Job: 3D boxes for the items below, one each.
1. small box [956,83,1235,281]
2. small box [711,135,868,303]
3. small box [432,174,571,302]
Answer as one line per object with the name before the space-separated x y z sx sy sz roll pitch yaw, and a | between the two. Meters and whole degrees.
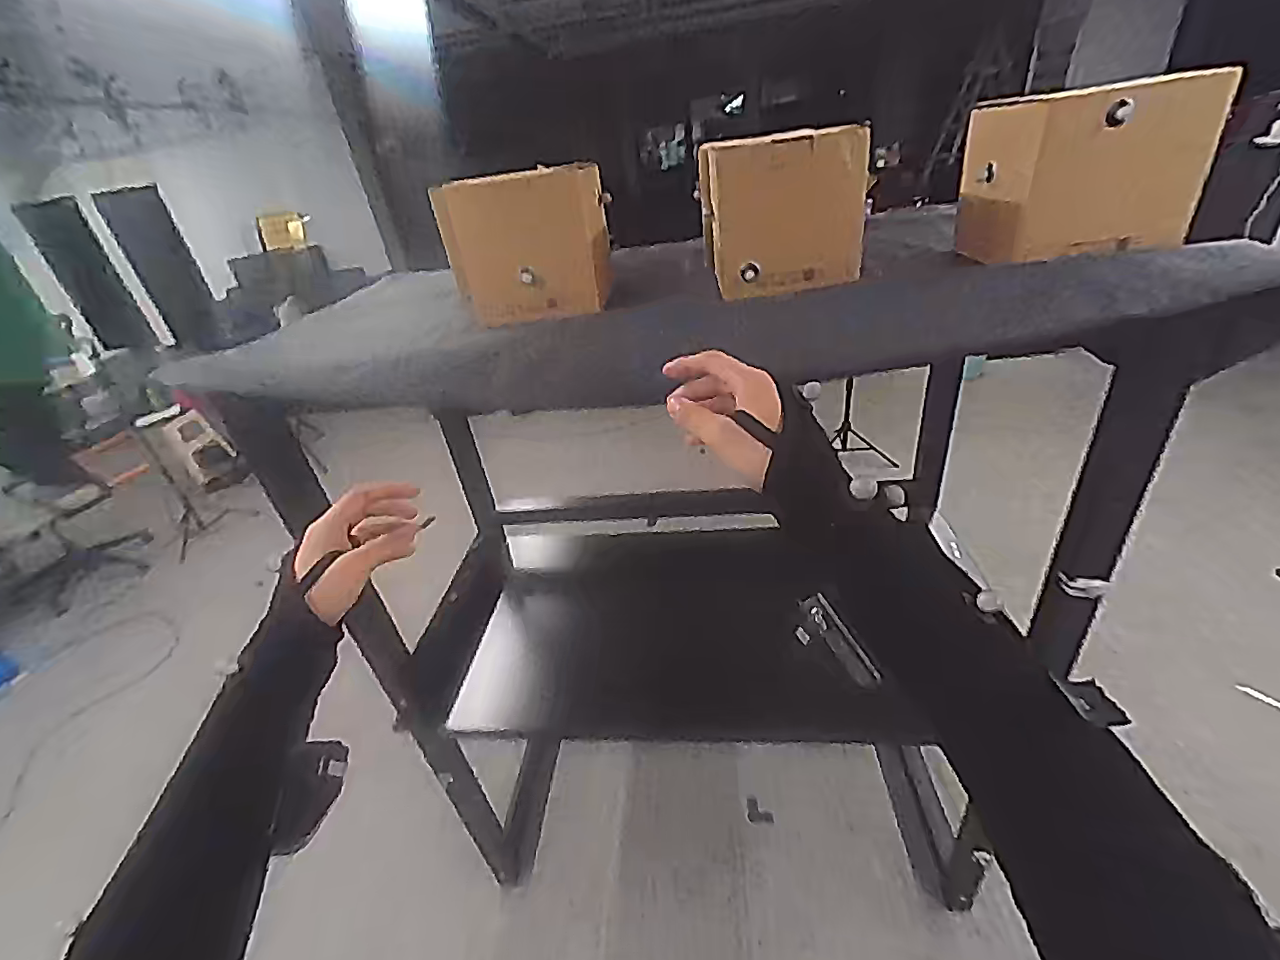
small box | 0.494 -0.336 0.627 0.168 0.176 0.179 -4 30 8
small box | 0.183 -0.333 0.700 0.168 0.176 0.179 -4 31 6
small box | -0.225 -0.419 0.936 0.179 0.176 0.168 -5 32 5
